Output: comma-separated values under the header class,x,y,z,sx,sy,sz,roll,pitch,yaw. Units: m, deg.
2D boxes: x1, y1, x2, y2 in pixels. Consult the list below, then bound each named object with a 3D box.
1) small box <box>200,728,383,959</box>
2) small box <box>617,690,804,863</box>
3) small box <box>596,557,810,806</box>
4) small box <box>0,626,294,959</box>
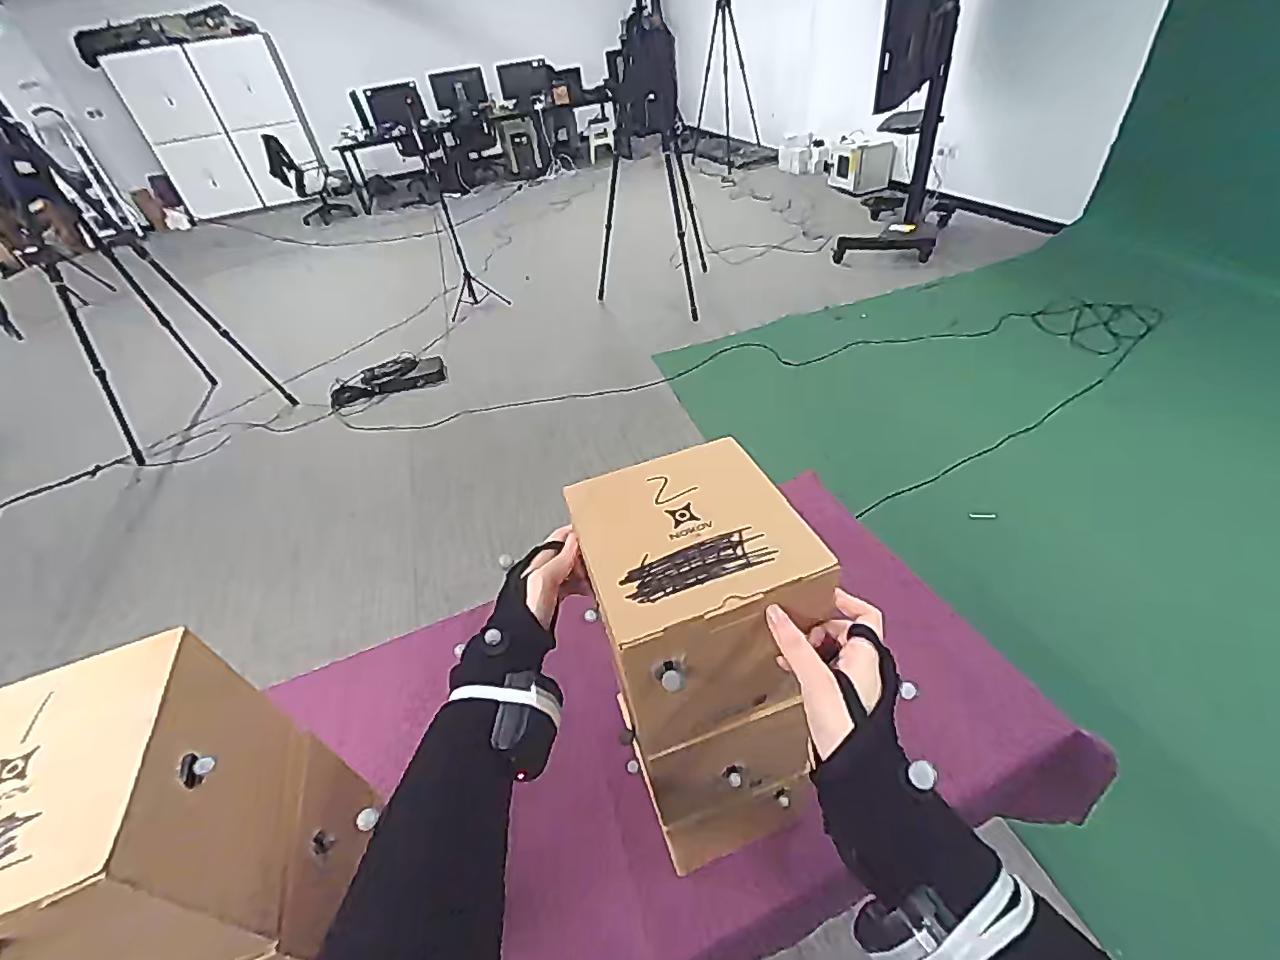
class,x,y,z,sx,sy,sz,roll,pitch,yaw
small box,-0.353,0.370,0.493,0.168,0.176,0.179,-17,41,-10
small box,0.087,0.346,0.685,0.179,0.176,0.168,-18,41,-10
small box,0.063,0.219,0.582,0.168,0.176,0.179,-16,41,-8
small box,-0.381,0.247,0.388,0.168,0.176,0.179,-19,41,-12
